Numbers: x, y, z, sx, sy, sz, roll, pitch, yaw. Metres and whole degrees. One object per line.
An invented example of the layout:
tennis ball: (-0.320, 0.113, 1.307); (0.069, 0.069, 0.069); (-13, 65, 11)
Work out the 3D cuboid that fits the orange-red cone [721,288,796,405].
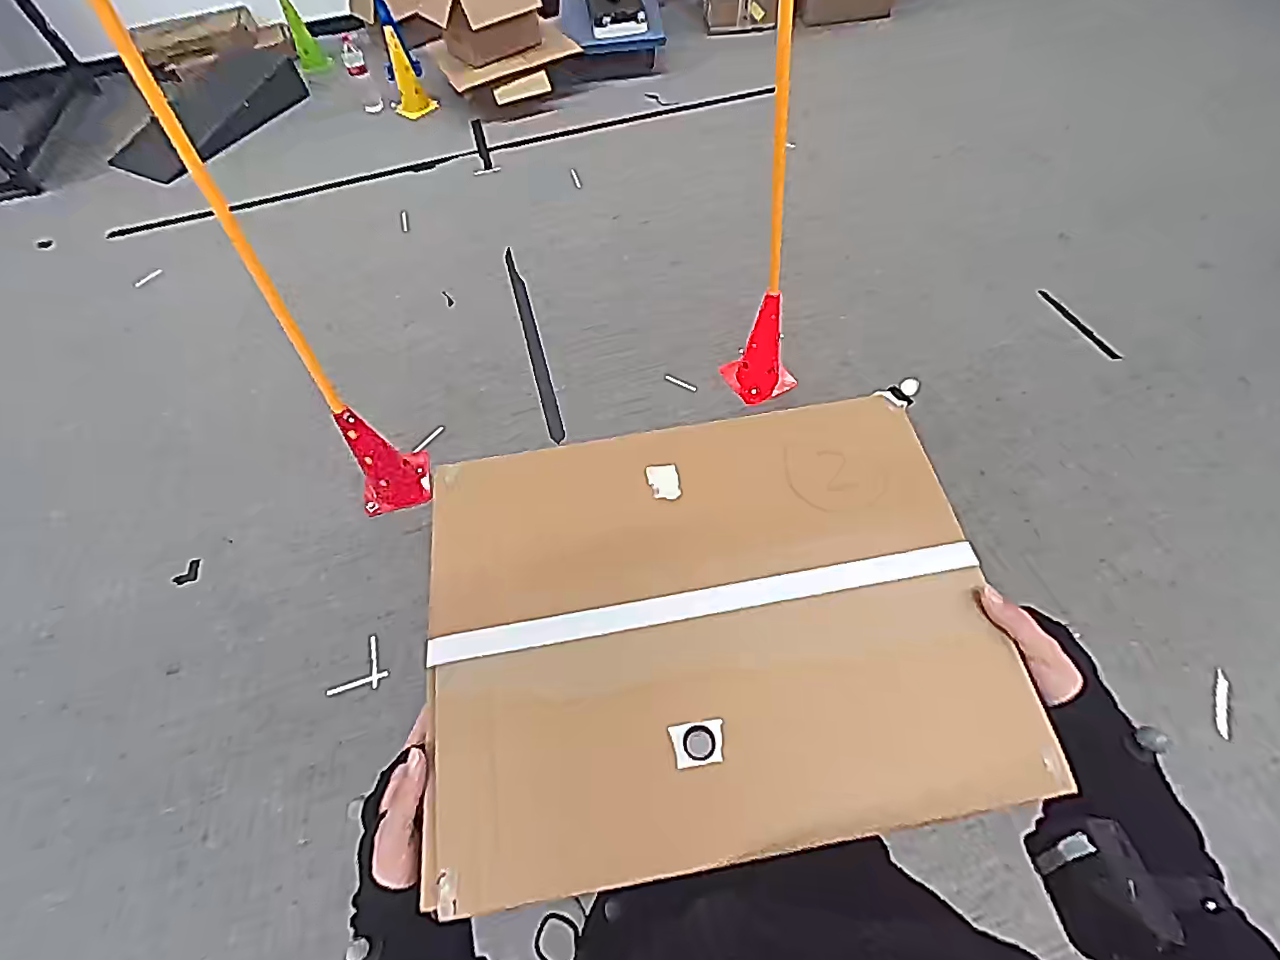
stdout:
orange-red cone: (0.390, -0.436, 1.667); (0.199, 0.360, 0.198); (-23, 60, -12)
